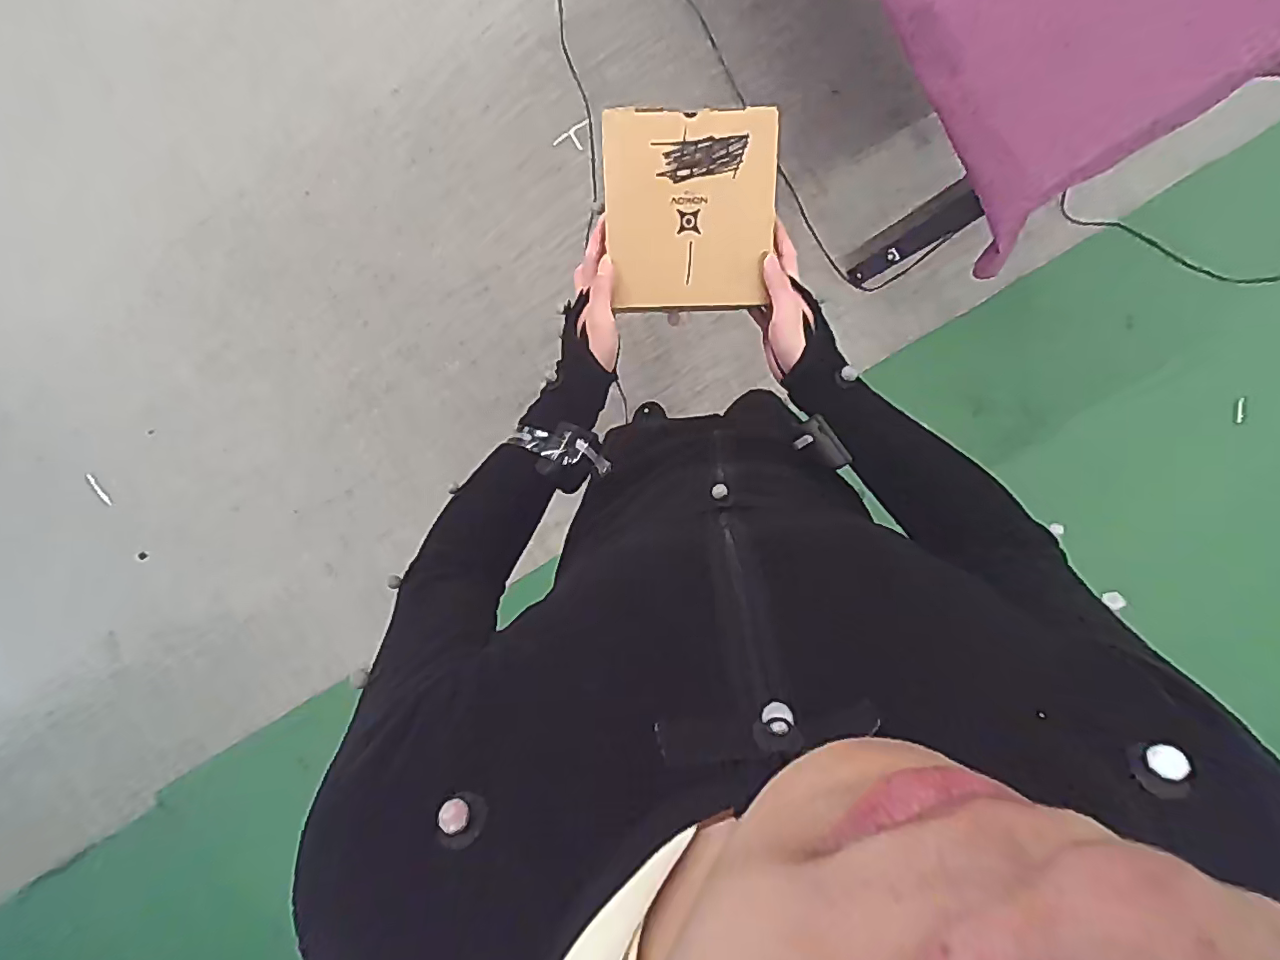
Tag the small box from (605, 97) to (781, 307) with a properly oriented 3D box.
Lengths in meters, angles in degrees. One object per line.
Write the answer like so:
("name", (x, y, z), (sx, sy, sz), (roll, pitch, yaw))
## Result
("small box", (0.047, -0.284, 0.590), (0.168, 0.176, 0.179), (-2, 107, 0))
